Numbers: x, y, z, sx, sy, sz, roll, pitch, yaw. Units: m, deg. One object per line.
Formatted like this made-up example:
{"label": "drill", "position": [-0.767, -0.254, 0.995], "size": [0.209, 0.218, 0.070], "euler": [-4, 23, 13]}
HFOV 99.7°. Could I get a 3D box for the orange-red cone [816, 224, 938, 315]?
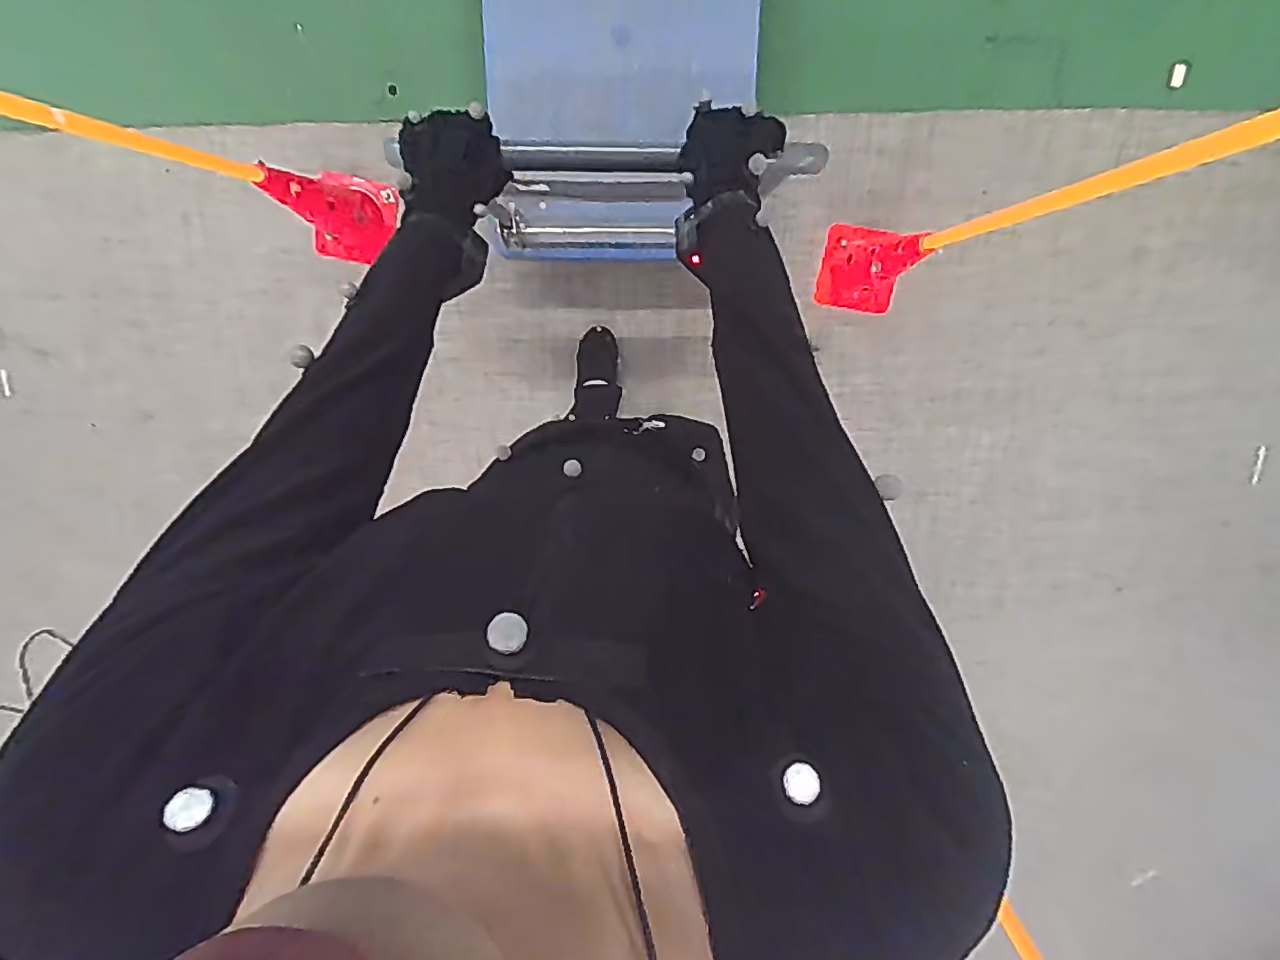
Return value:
{"label": "orange-red cone", "position": [0.562, -0.497, 1.213], "size": [0.198, 0.360, 0.199], "euler": [10, 103, -1]}
